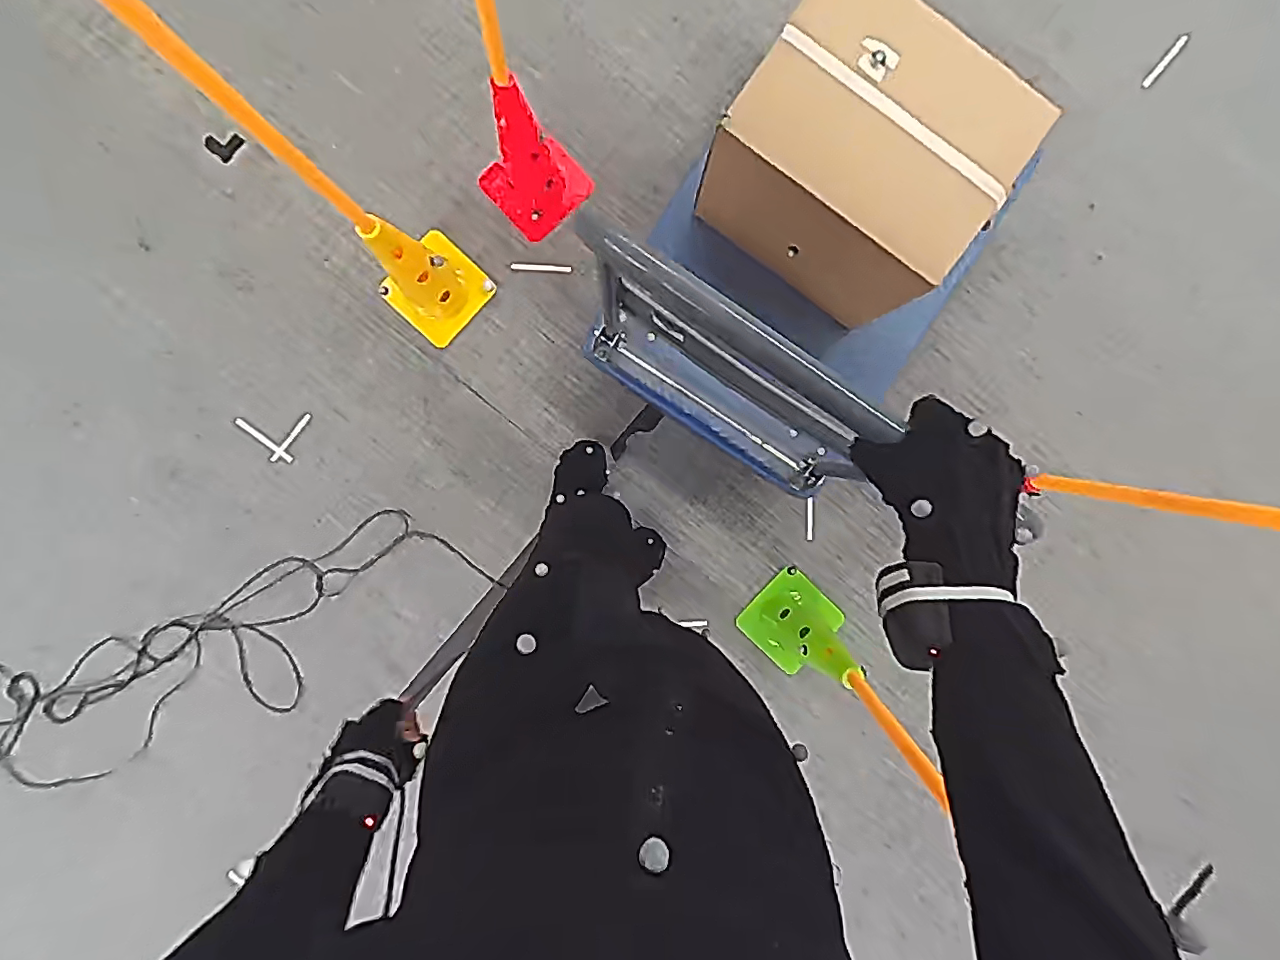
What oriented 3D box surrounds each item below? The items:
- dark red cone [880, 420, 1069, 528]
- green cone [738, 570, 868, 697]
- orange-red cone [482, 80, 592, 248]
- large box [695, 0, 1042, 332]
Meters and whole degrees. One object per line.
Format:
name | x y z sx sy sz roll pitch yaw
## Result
dark red cone | 0.697 -0.005 1.109 0.201 0.394 0.202 40 91 -5
green cone | 0.371 0.354 1.132 0.202 0.368 0.200 44 91 -4
orange-red cone | -0.229 -0.659 1.078 0.199 0.360 0.198 -43 94 -1
large box | 0.355 -0.522 0.953 0.408 0.320 0.320 35 92 -2
